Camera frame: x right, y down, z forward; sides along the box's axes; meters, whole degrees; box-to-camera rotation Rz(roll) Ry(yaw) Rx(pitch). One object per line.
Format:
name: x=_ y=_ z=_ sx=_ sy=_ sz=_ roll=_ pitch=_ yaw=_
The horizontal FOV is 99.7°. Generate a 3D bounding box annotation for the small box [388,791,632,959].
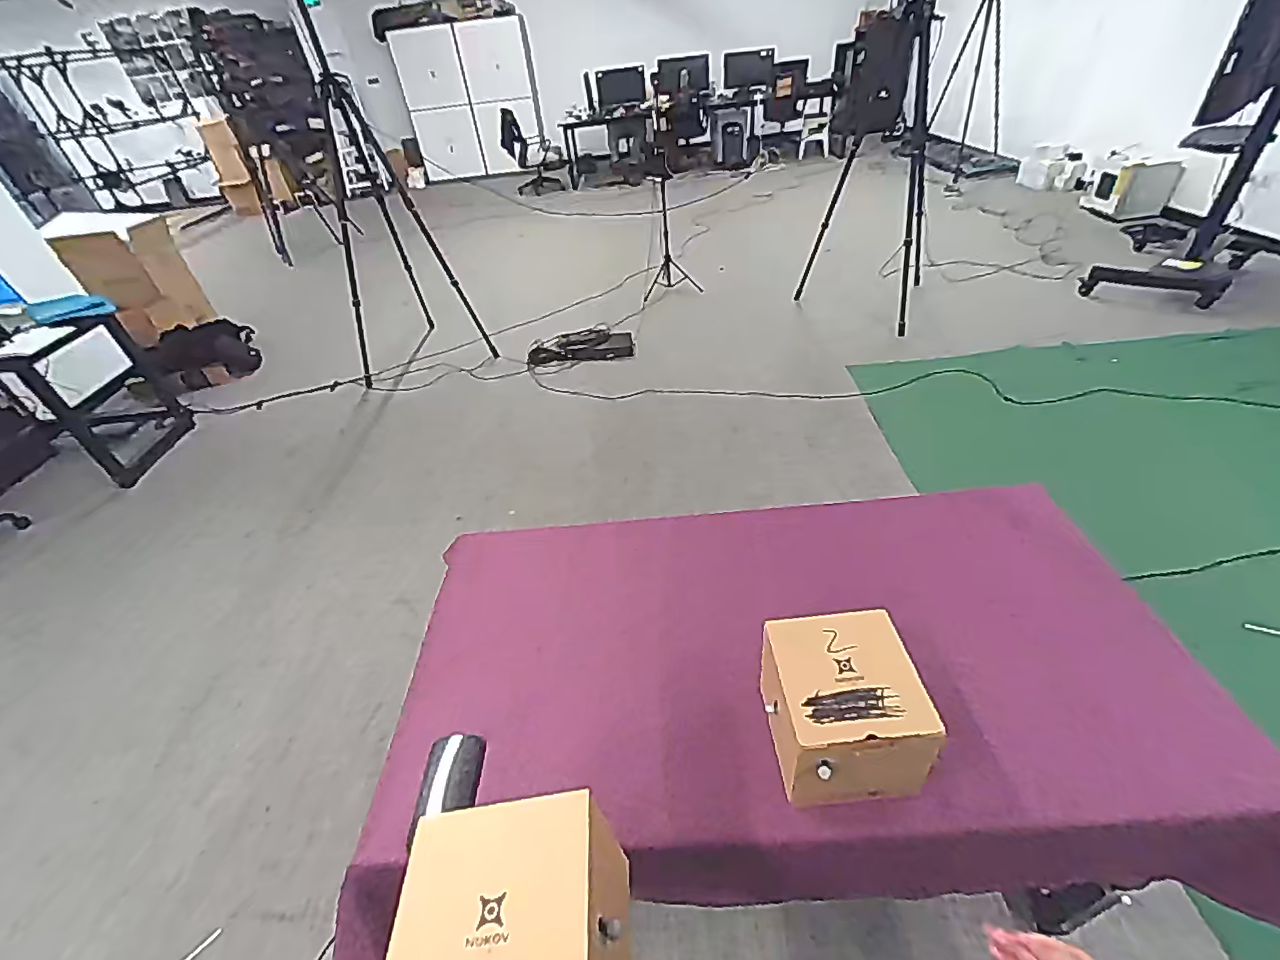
small box: x=-0.102 y=0.411 z=0.478 sx=0.168 sy=0.176 sz=0.179 roll=-10 pitch=37 yaw=3
